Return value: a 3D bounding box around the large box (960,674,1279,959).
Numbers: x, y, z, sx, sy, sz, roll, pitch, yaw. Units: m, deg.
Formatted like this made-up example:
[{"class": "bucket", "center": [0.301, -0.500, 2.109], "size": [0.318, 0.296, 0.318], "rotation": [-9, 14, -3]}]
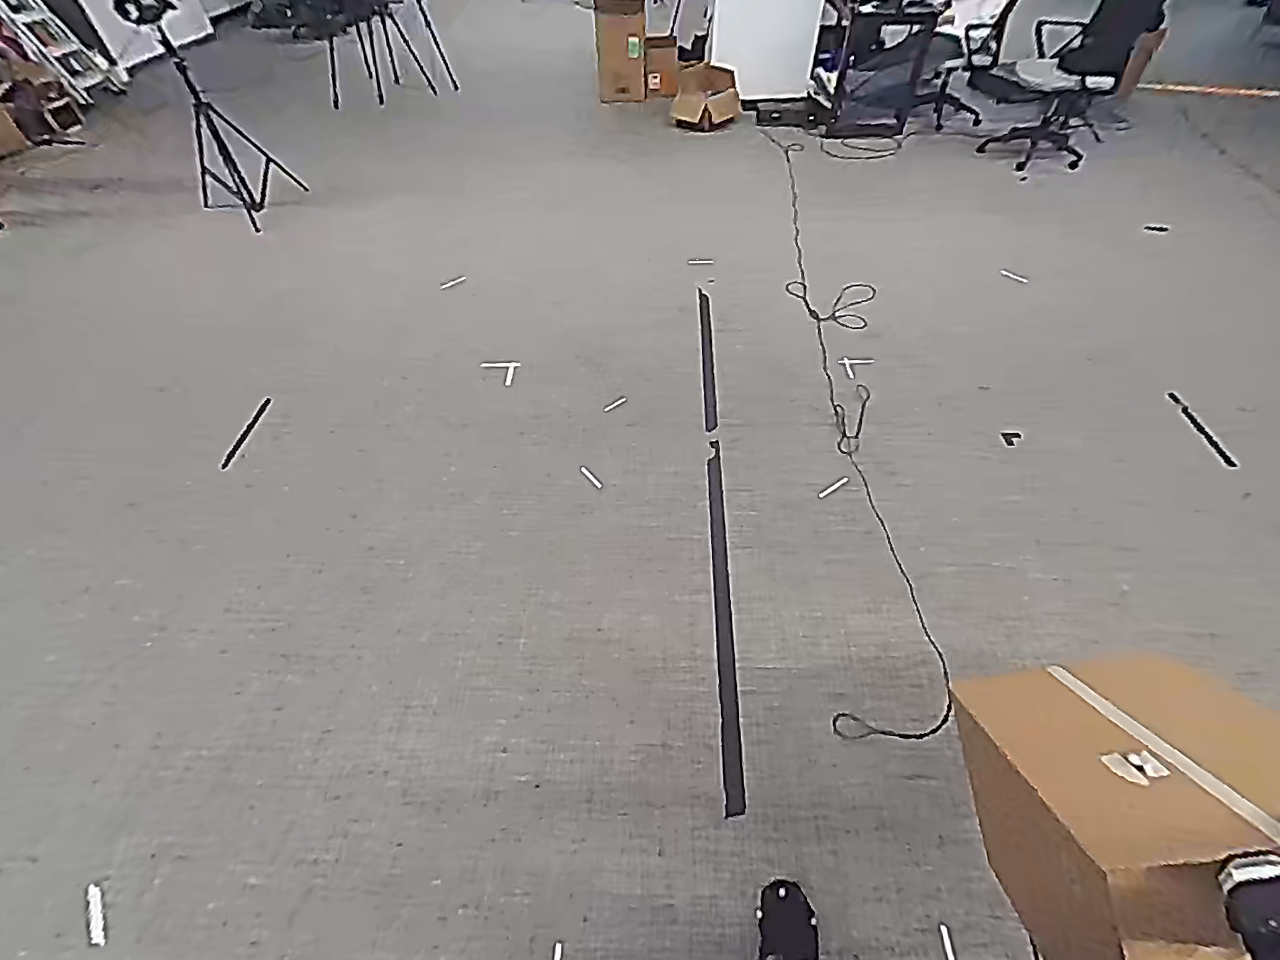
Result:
[{"class": "large box", "center": [0.662, 0.487, 0.670], "size": [0.320, 0.408, 0.320], "rotation": [-12, 93, 11]}]
